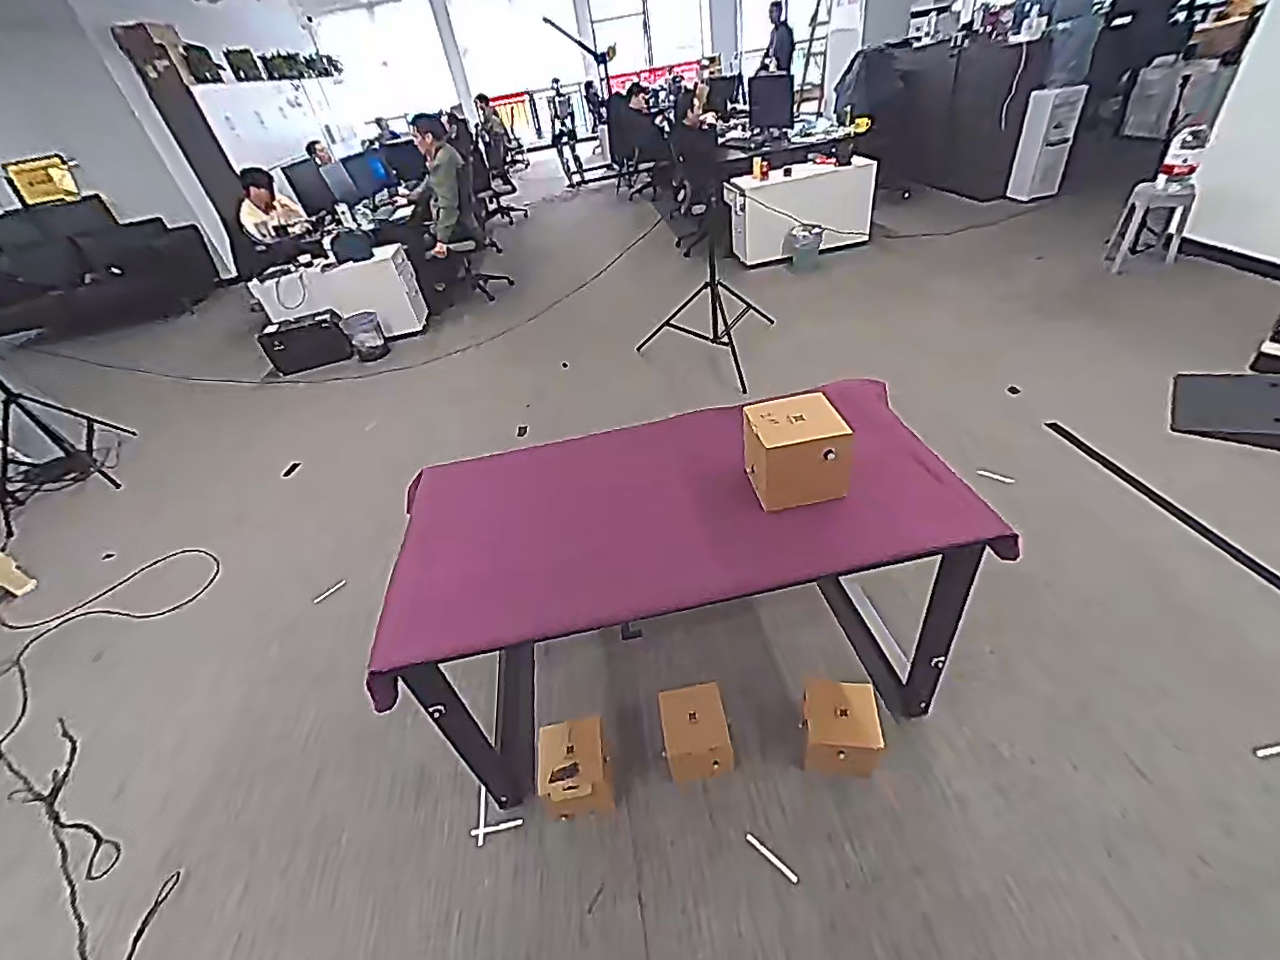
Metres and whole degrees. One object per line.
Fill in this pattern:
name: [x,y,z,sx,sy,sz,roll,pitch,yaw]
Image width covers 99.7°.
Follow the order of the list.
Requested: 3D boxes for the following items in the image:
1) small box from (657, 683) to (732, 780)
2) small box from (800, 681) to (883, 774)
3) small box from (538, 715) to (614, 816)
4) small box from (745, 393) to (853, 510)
small box: [0.147,0.680,1.452,0.168,0.176,0.179,-10,37,-1]
small box: [0.516,0.646,1.409,0.179,0.176,0.168,-2,40,13]
small box: [-0.167,0.758,1.425,0.168,0.176,0.179,-11,37,-1]
small box: [0.328,-0.059,1.149,0.179,0.176,0.168,-11,38,0]
